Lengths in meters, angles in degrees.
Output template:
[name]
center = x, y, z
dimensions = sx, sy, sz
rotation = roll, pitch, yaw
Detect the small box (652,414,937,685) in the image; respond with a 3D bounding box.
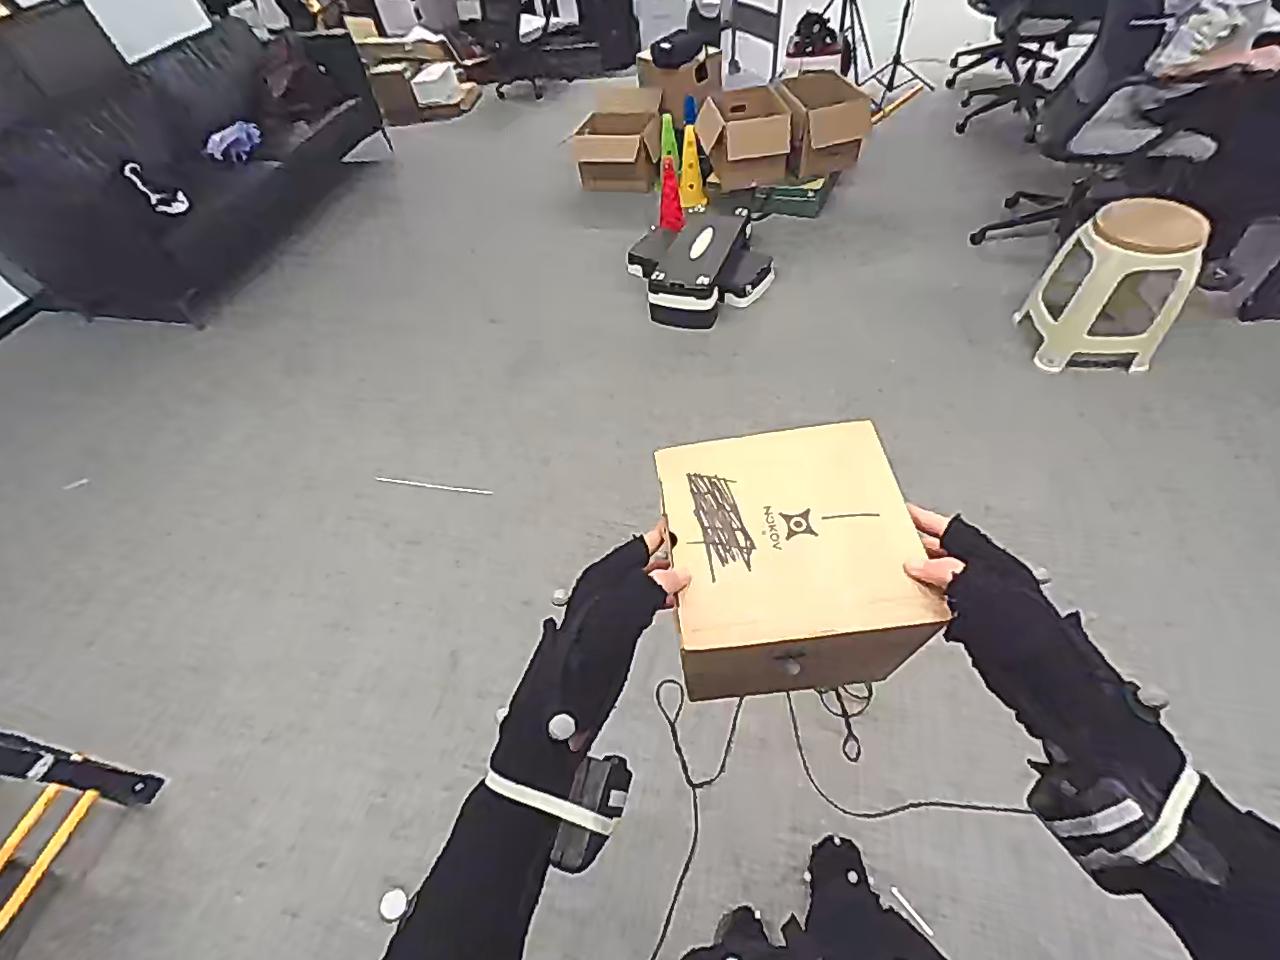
[small box]
center = 0.110, 0.068, 0.462
dimensions = 0.179, 0.176, 0.168
rotation = -7, 57, 2
